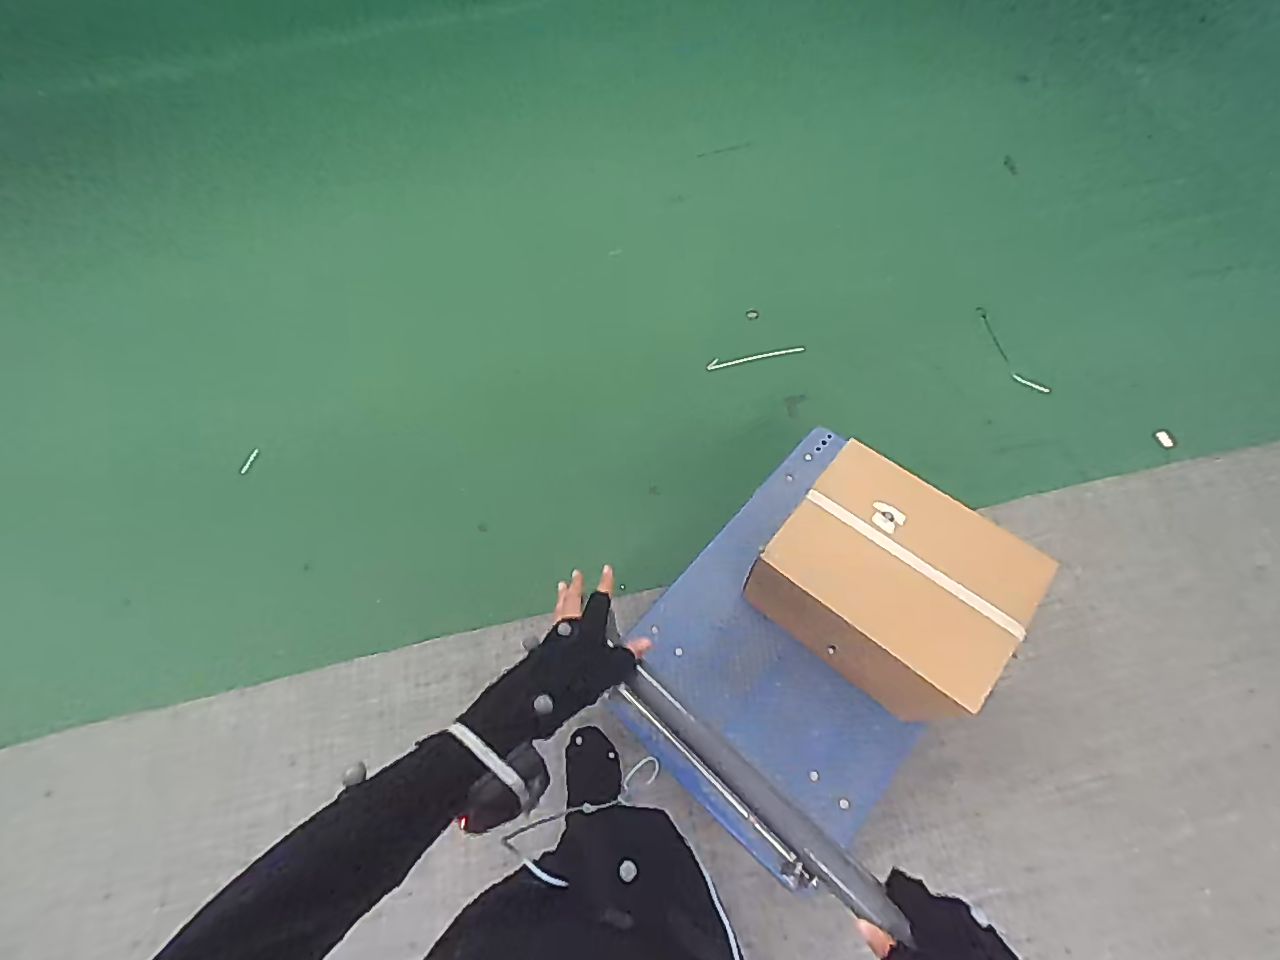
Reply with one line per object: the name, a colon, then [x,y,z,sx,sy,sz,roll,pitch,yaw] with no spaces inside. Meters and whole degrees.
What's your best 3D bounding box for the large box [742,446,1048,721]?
large box: [0.461,0.213,1.071,0.408,0.320,0.320,36,71,21]
